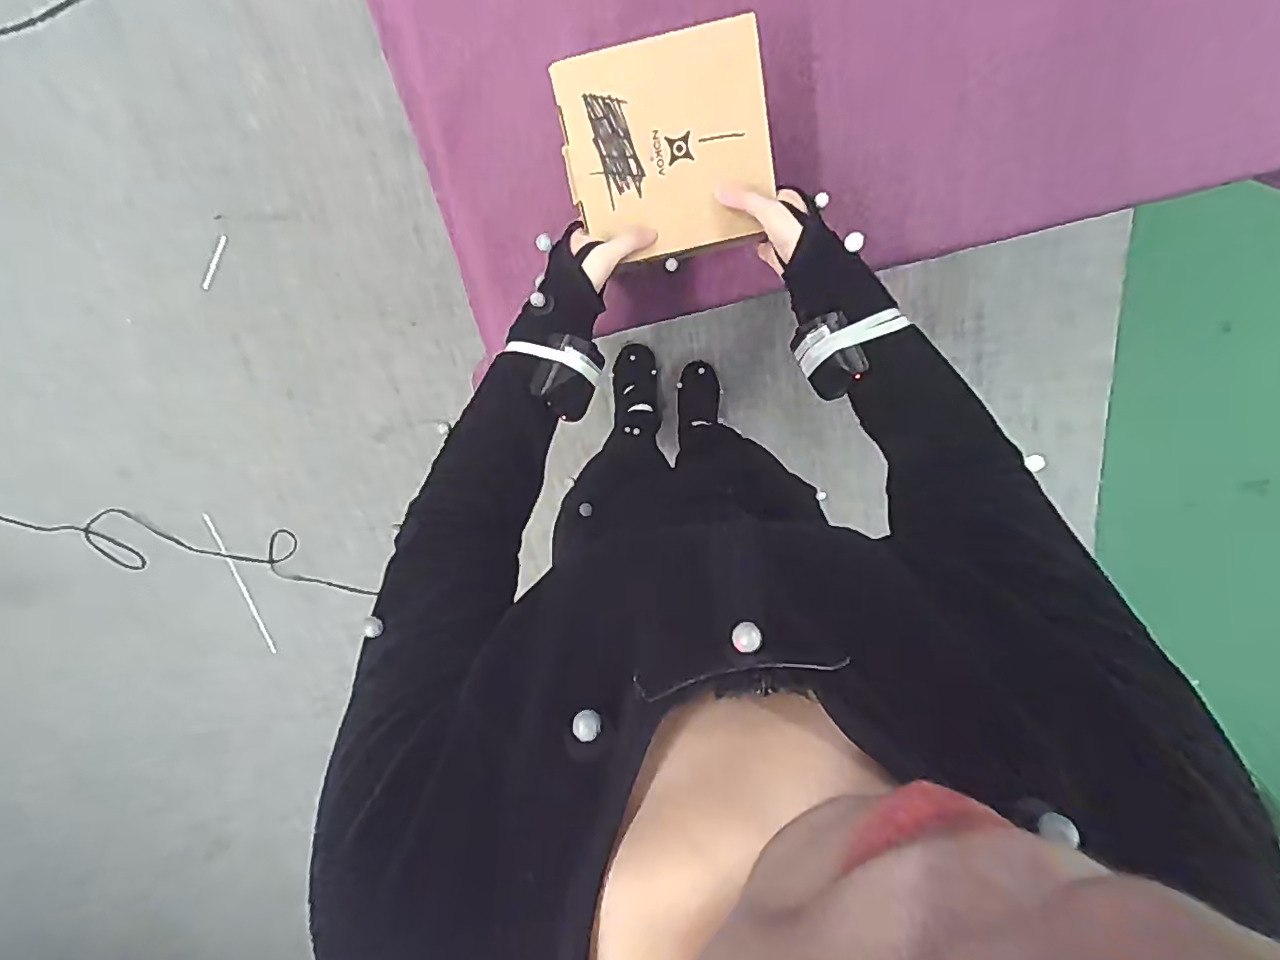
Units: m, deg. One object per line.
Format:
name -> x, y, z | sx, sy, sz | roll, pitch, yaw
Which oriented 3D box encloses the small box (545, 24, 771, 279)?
small box -> 0.021, -0.308, 0.551 | 0.179, 0.176, 0.168 | -12, 108, 4
